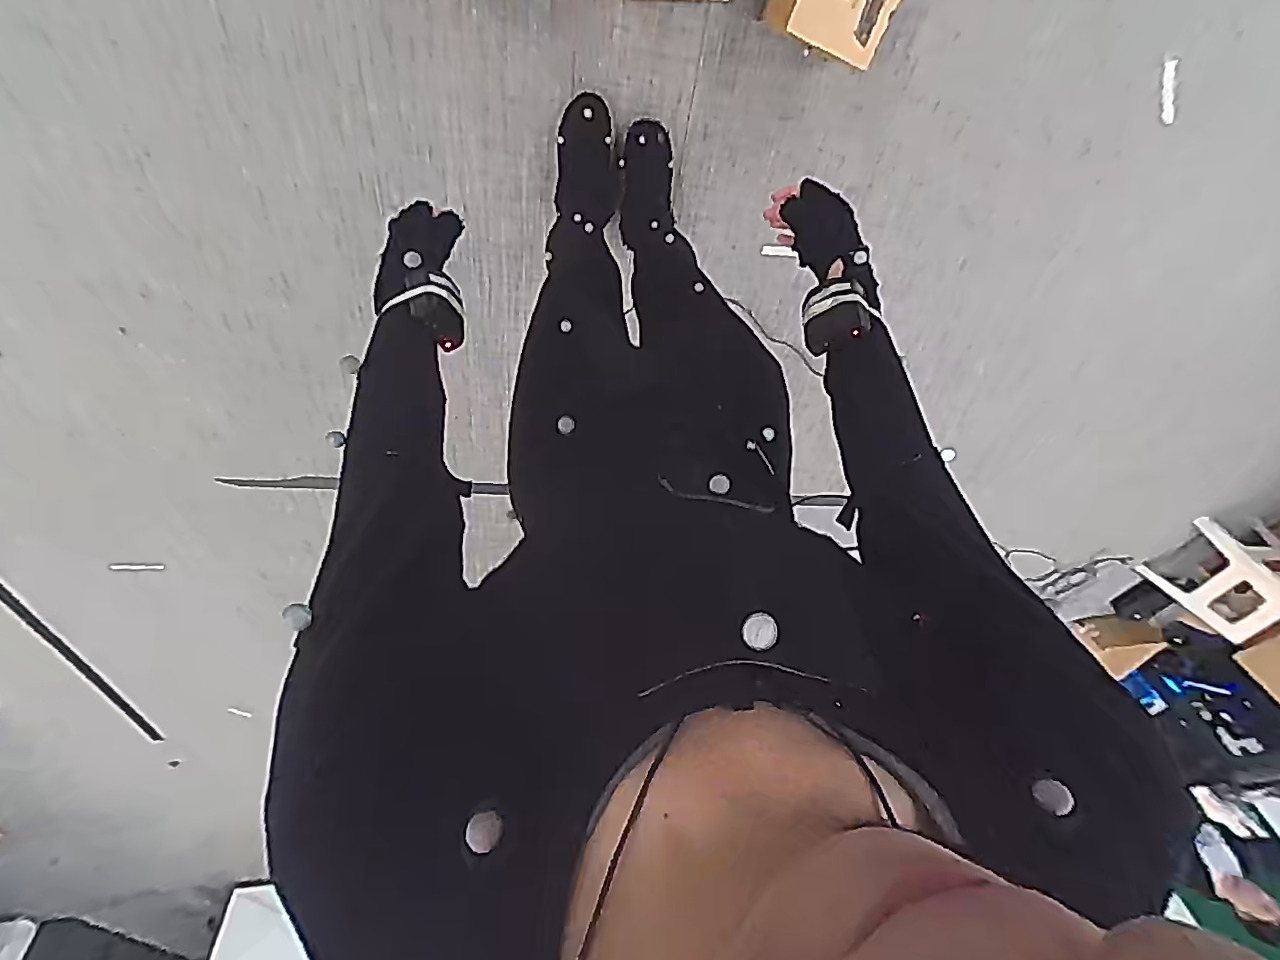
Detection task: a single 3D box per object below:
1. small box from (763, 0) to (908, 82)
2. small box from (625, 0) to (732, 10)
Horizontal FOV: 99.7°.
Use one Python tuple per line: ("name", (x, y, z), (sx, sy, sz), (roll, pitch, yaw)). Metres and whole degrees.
("small box", (0.350, -0.854, 0.968), (0.179, 0.176, 0.168), (11, 129, -18))
("small box", (0.060, -0.887, 0.888), (0.179, 0.176, 0.168), (-3, 133, -6))
